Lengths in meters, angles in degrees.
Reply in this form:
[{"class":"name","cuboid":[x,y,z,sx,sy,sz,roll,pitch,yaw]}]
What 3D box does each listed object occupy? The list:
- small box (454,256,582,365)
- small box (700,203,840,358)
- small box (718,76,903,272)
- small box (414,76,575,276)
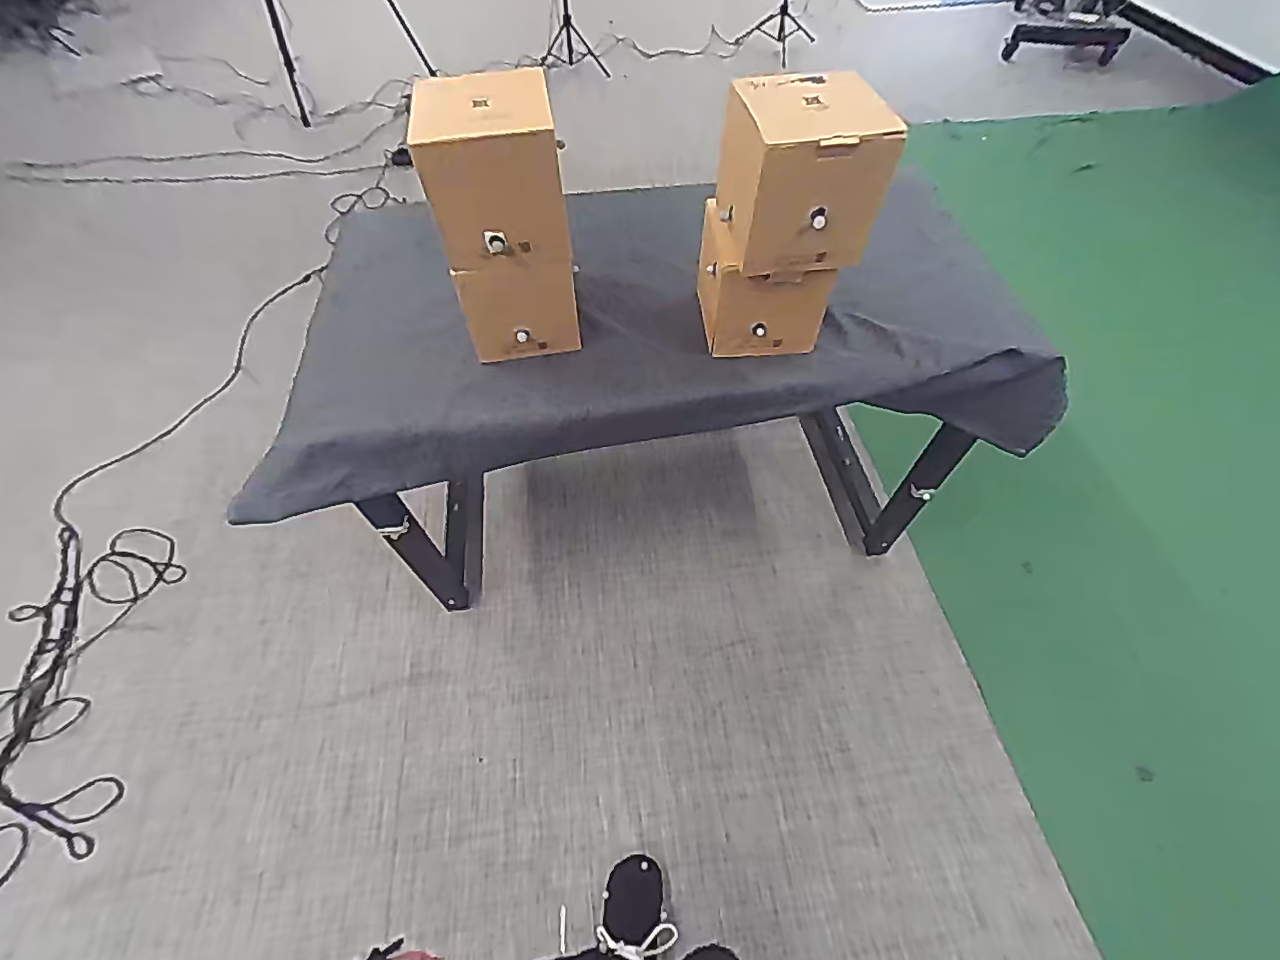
[{"class":"small box","cuboid":[-0.189,-0.309,0.854,0.168,0.176,0.179,-10,57,-6]},{"class":"small box","cuboid":[0.191,-0.315,0.855,0.168,0.176,0.179,-4,56,-2]},{"class":"small box","cuboid":[0.206,-0.393,0.711,0.168,0.176,0.179,-7,57,-4]},{"class":"small box","cuboid":[-0.186,-0.401,0.721,0.168,0.176,0.179,-10,57,-5]}]
